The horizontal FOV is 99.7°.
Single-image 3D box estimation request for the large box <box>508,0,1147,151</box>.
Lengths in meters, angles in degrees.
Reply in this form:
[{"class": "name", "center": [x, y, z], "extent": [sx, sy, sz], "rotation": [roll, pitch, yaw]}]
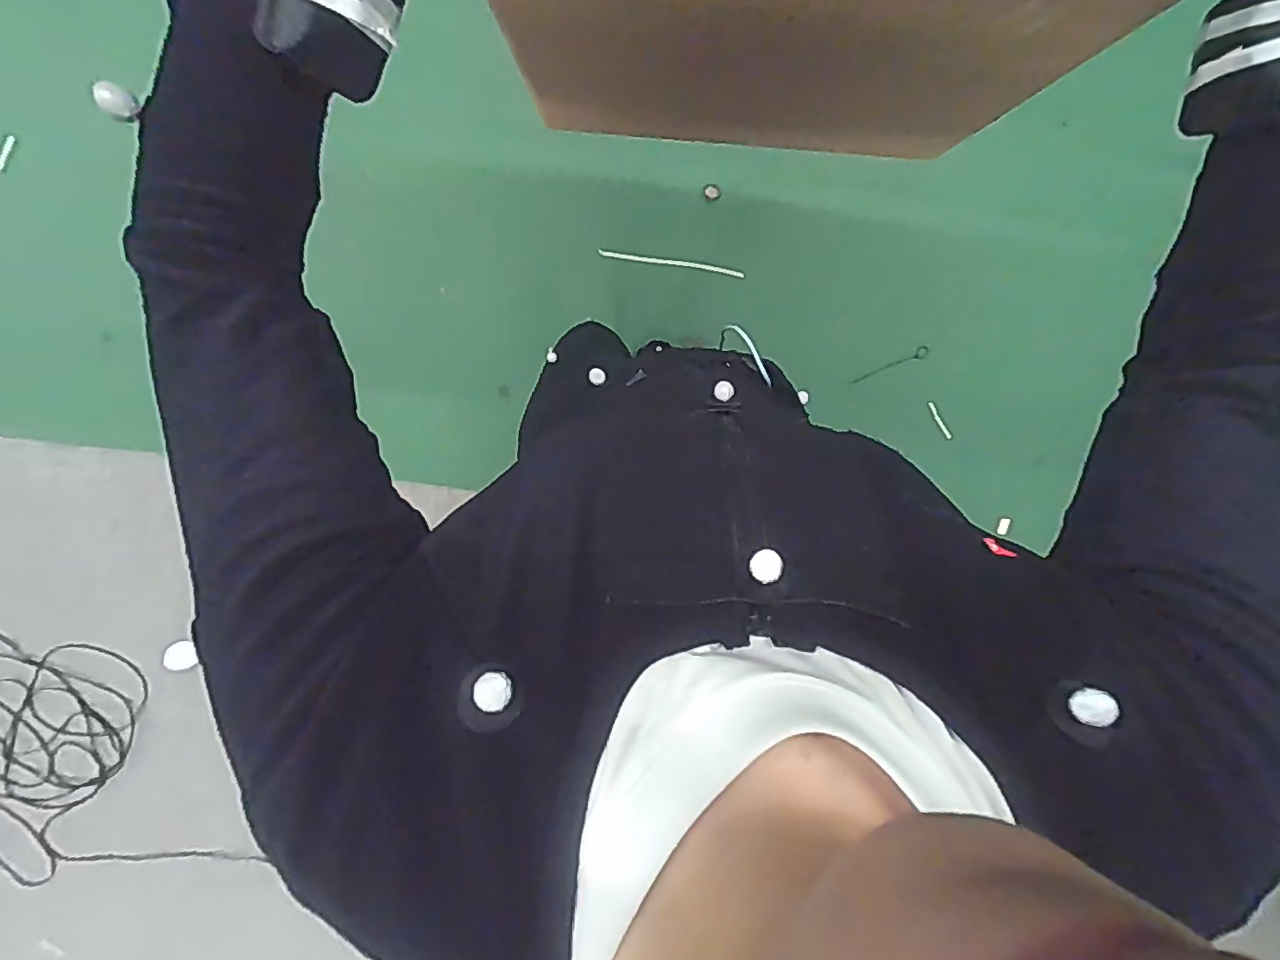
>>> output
[{"class": "large box", "center": [0.115, -0.460, 0.378], "extent": [0.408, 0.320, 0.320], "rotation": [3, 104, -1]}]
